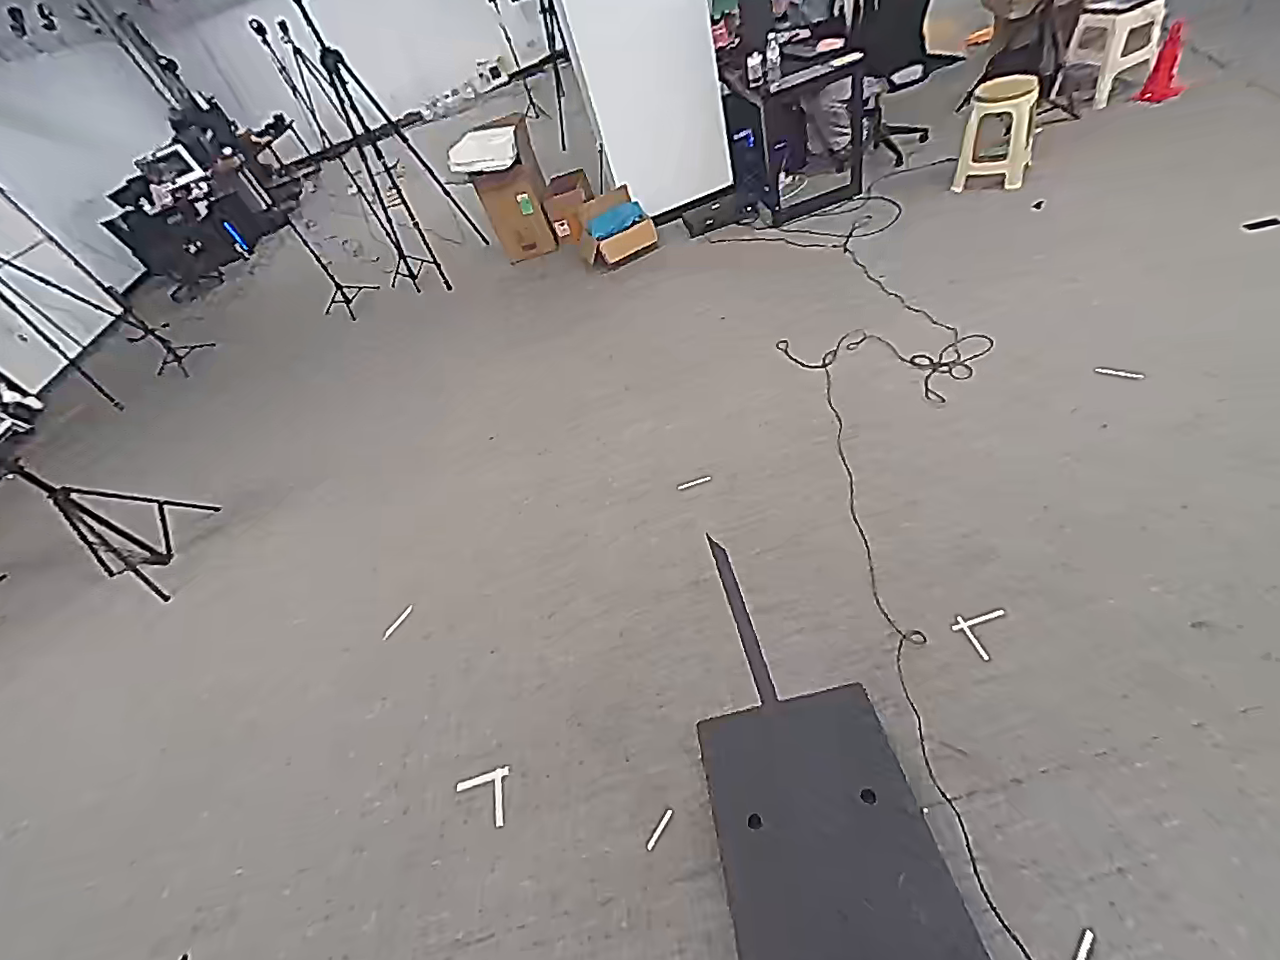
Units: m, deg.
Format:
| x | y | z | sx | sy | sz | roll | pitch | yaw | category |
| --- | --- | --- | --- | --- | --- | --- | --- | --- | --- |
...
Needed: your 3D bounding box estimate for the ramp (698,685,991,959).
| x | y | z | sx | sy | sz | roll | pitch | yaw | category |
| --- | --- | --- | --- | --- | --- | --- | --- | --- | --- |
| 0.440 | 0.940 | 1.162 | 0.509 | 0.206 | 0.991 | -19 | 45 | 6 | ramp |
